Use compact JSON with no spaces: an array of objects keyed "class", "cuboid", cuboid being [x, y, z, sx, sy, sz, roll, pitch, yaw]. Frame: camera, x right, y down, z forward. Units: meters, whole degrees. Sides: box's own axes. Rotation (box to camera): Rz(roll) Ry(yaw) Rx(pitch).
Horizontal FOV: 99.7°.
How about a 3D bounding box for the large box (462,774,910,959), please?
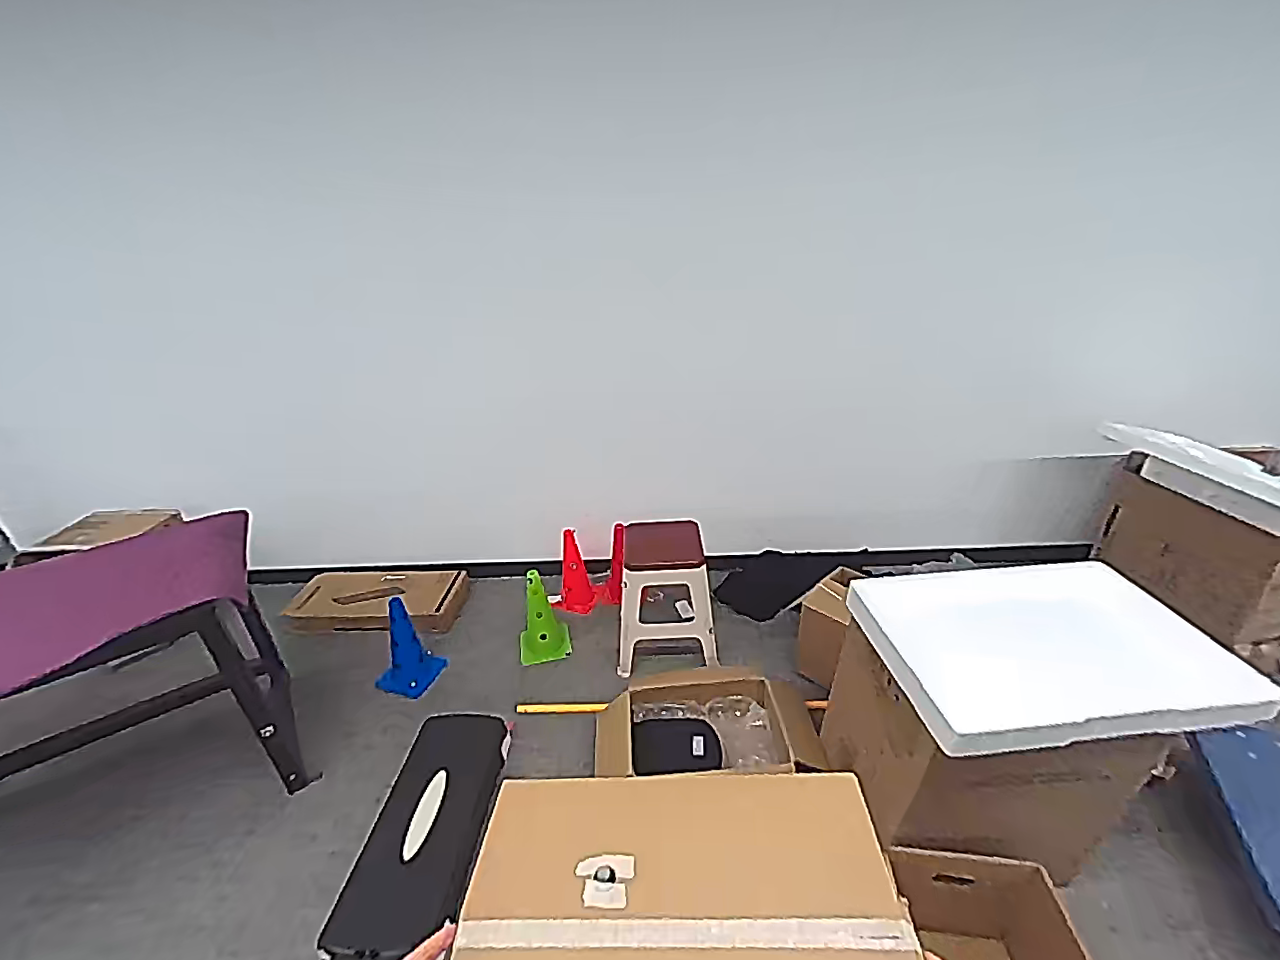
[{"class":"large box","cuboid":[0.053,0.550,0.549,0.408,0.320,0.320,-6,24,5]}]
